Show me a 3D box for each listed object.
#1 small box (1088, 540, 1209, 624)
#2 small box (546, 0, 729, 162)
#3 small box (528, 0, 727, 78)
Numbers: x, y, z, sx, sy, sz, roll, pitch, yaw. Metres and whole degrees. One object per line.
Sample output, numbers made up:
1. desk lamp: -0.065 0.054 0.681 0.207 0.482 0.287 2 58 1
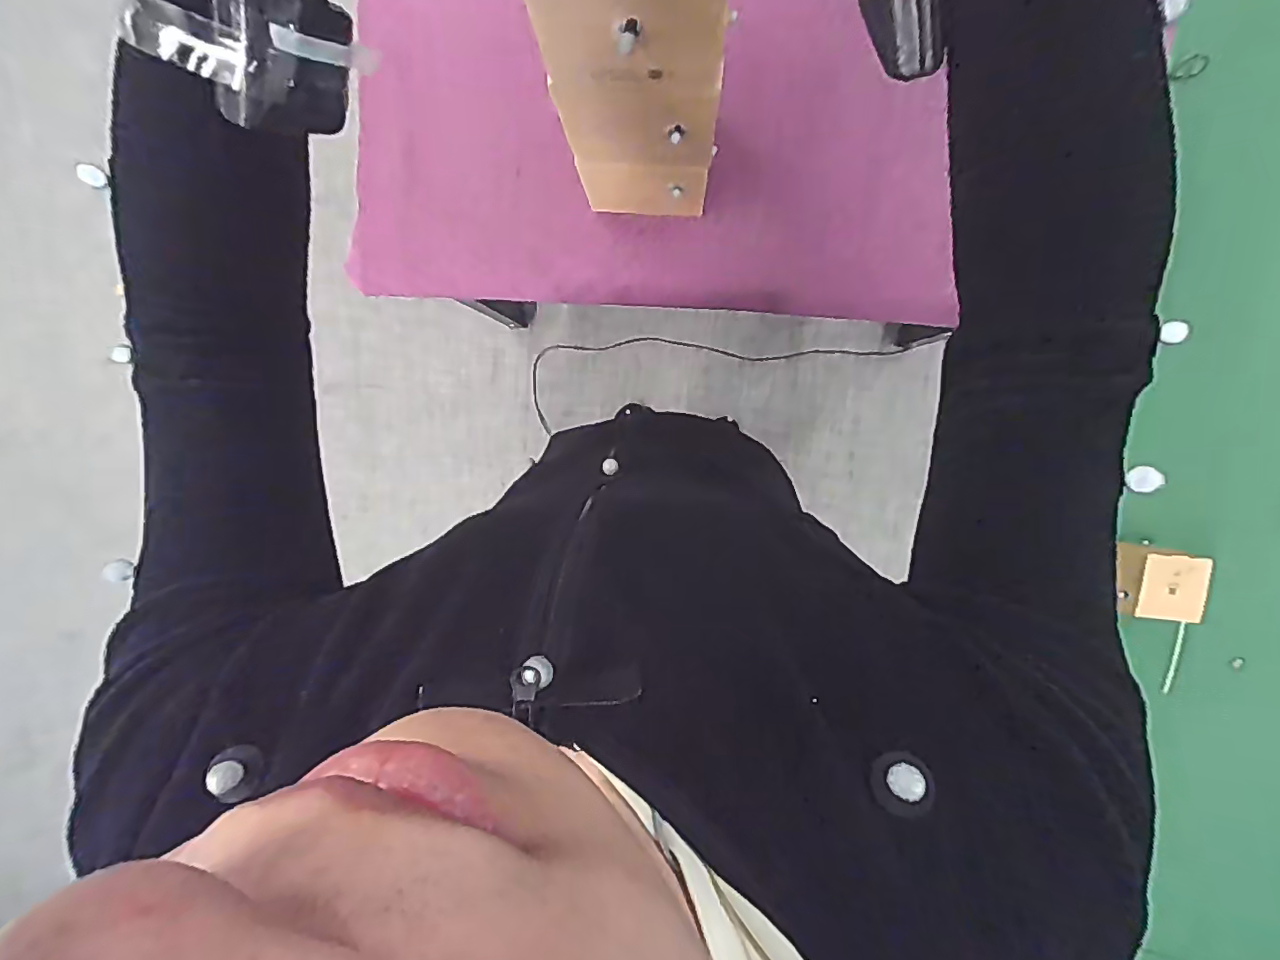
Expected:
1. small box: 1.391 0.276 1.494 0.168 0.176 0.179 5 97 3
2. small box: 0.003 -0.478 0.601 0.179 0.176 0.168 4 97 3
3. small box: -0.006 -0.466 0.439 0.168 0.176 0.179 3 97 2
